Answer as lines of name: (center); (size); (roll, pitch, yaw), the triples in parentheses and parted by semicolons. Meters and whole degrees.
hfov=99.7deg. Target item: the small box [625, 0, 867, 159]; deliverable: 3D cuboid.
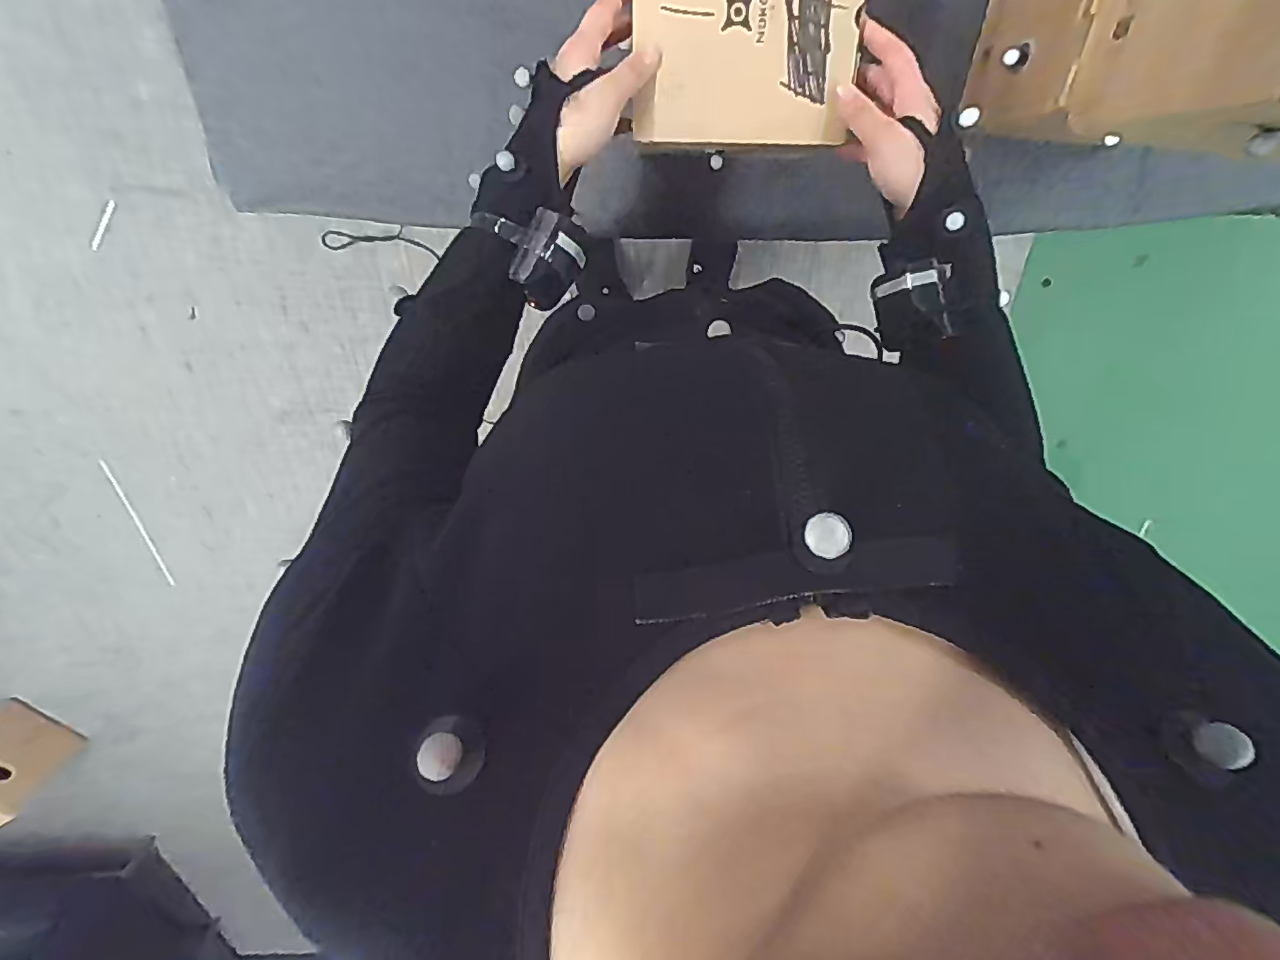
small box: (0.078, -0.377, 0.463); (0.179, 0.176, 0.168); (2, 118, 1)

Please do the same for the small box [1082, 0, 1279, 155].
small box: (0.429, -0.300, 0.320); (0.179, 0.176, 0.168); (6, 118, -3)

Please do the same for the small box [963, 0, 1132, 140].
small box: (0.418, -0.393, 0.456); (0.179, 0.176, 0.168); (3, 119, -3)
